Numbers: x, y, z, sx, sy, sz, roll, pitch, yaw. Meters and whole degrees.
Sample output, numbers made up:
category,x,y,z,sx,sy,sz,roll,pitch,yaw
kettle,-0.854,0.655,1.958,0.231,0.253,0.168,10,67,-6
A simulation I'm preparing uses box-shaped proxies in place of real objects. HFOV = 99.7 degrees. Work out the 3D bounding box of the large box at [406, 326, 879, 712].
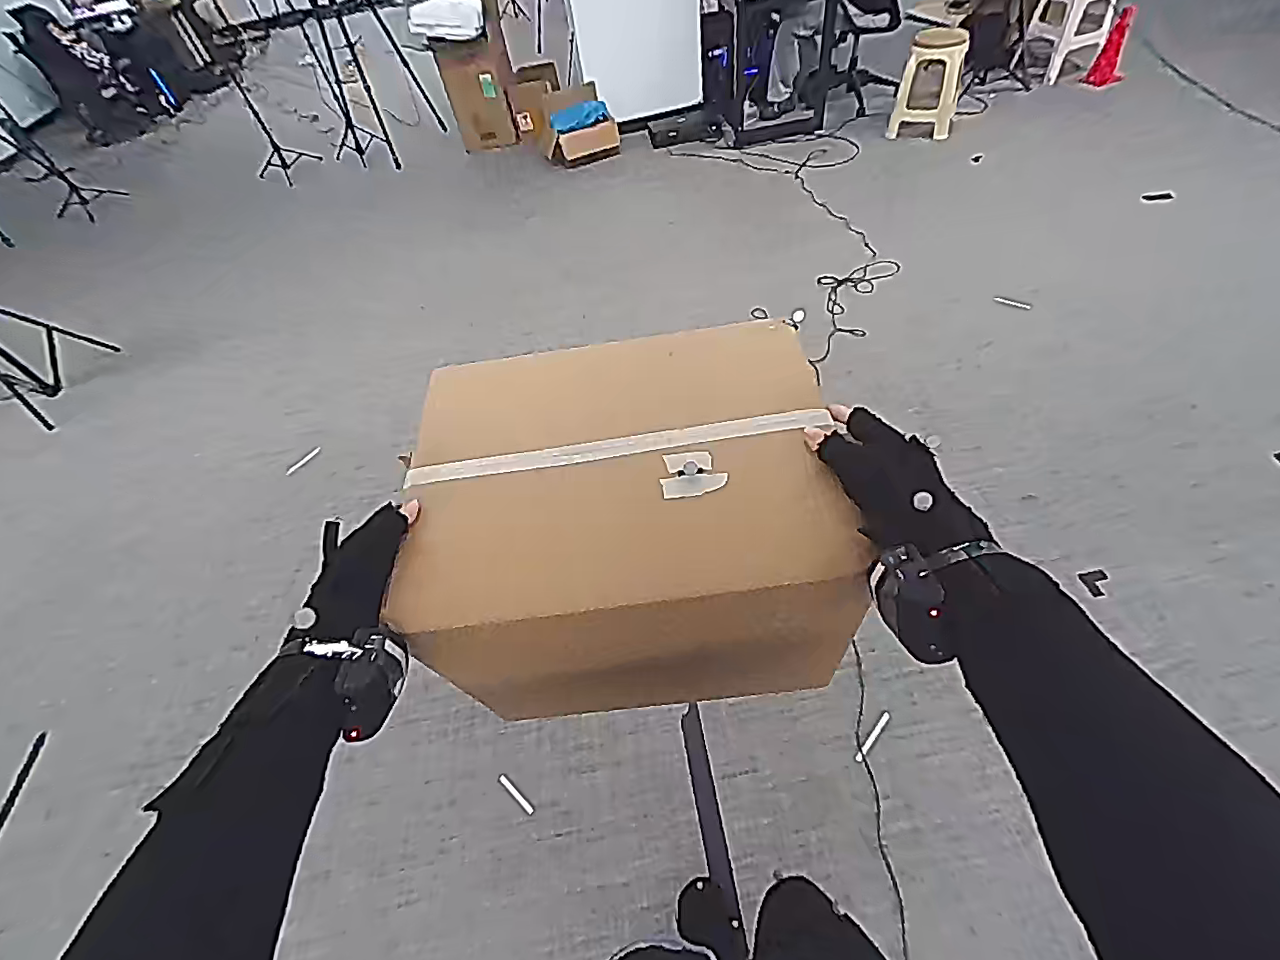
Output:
category,x,y,z,sx,sy,sz,roll,pitch,yaw
large box,0.001,0.061,0.648,0.408,0.320,0.320,-7,54,2
